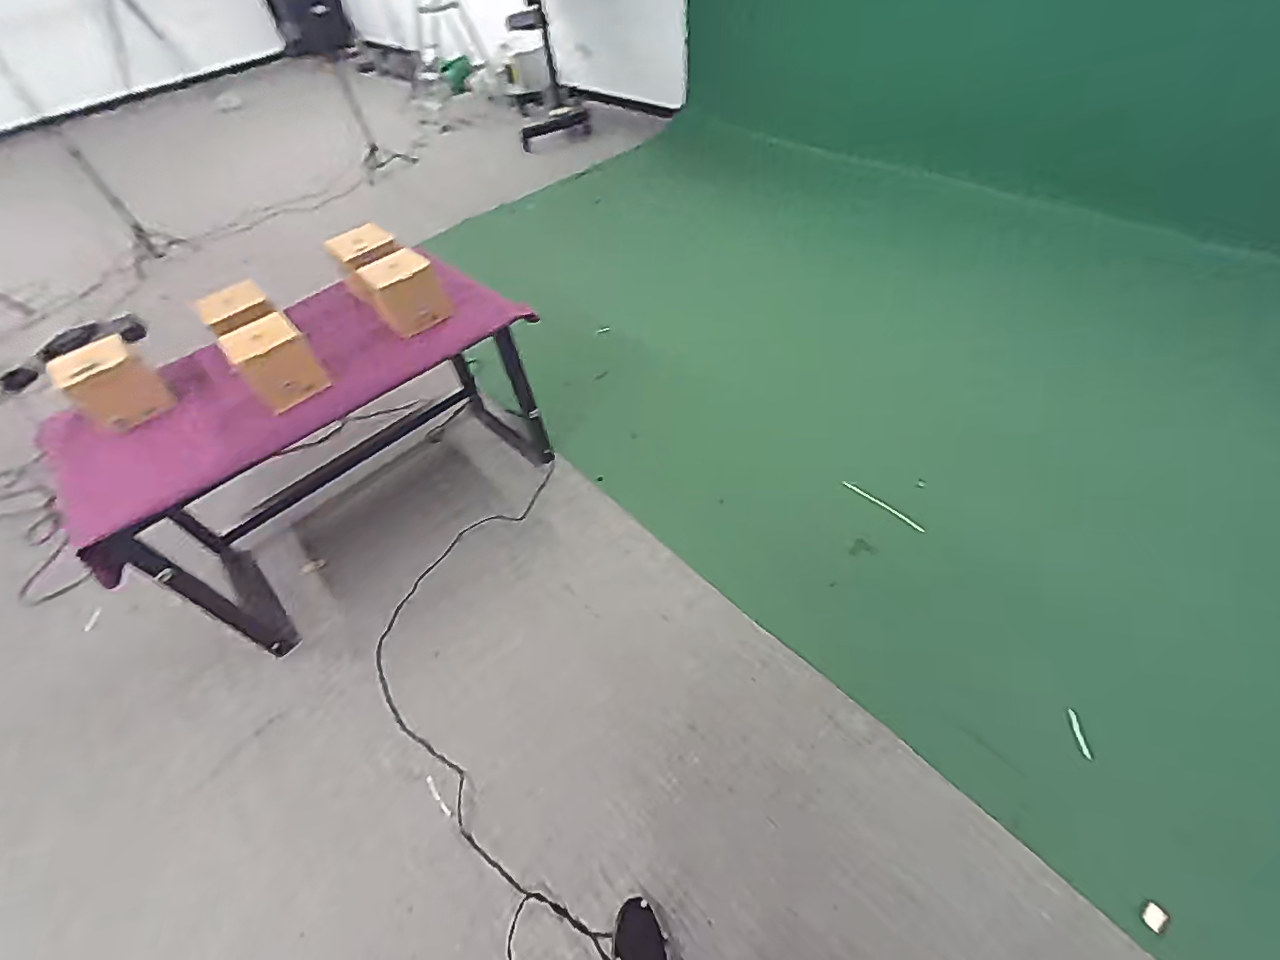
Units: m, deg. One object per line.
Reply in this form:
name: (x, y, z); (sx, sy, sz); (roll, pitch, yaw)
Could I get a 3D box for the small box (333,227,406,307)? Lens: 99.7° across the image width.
small box: (-0.857, -0.694, 1.767); (0.168, 0.176, 0.179); (-38, 56, -22)

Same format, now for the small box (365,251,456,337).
small box: (-0.685, -0.556, 1.625); (0.168, 0.176, 0.179); (-37, 54, -20)

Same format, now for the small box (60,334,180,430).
small box: (-1.411, -0.262, 1.477); (0.168, 0.176, 0.179); (-38, 55, -23)

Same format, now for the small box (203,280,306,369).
small box: (-1.144, -0.460, 1.611); (0.168, 0.176, 0.179); (-37, 56, -21)
